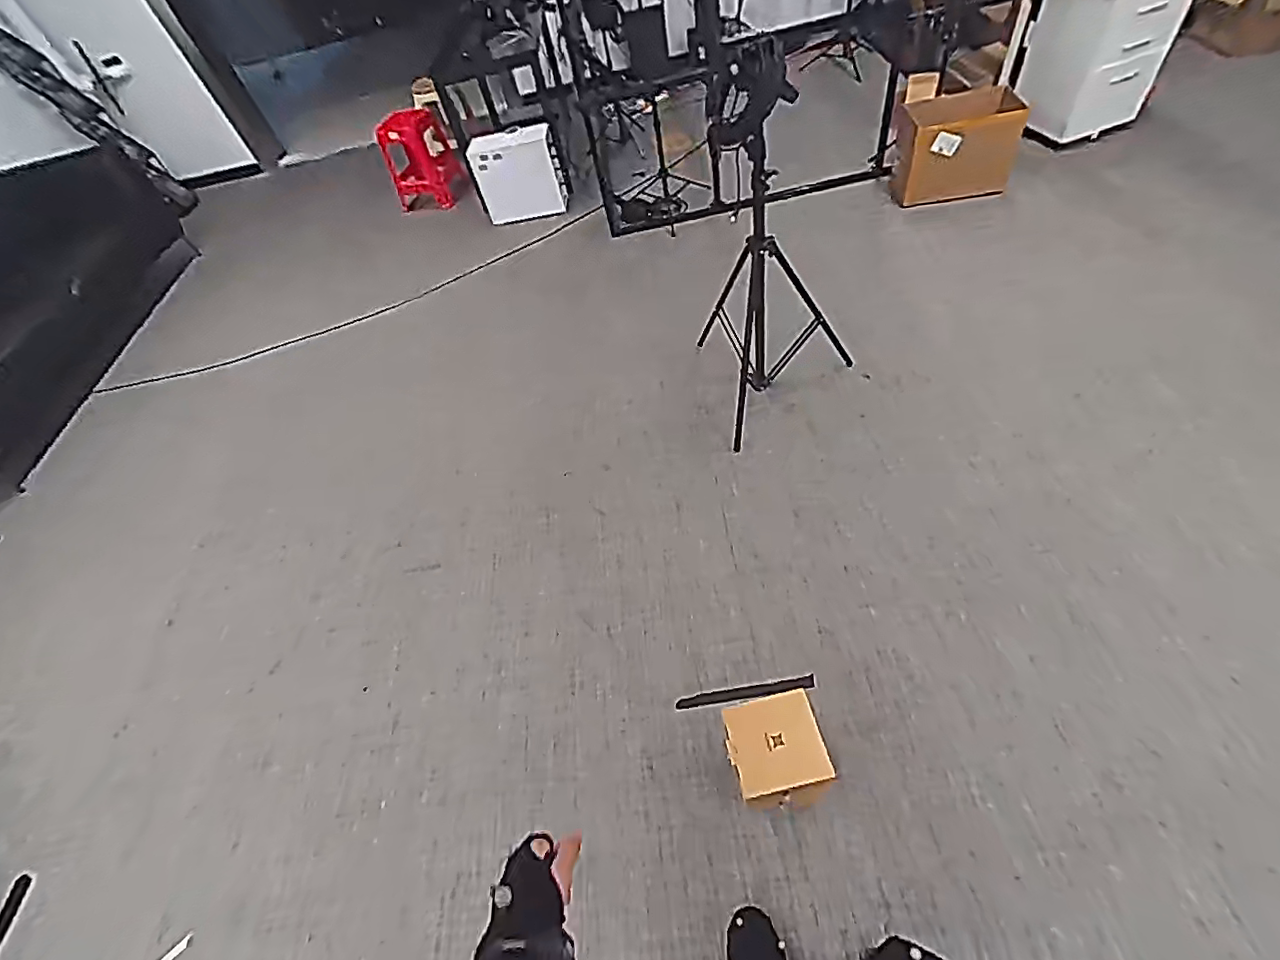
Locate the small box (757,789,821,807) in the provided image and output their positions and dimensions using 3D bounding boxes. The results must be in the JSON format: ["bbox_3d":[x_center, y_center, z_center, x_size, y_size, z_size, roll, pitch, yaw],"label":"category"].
[{"bbox_3d":[0.308,0.640,1.237,0.168,0.176,0.179,-8,52,6],"label":"small box"}]

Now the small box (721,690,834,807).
[{"bbox_3d":[0.273,0.551,1.104,0.179,0.176,0.168,-16,52,2],"label":"small box"}]
